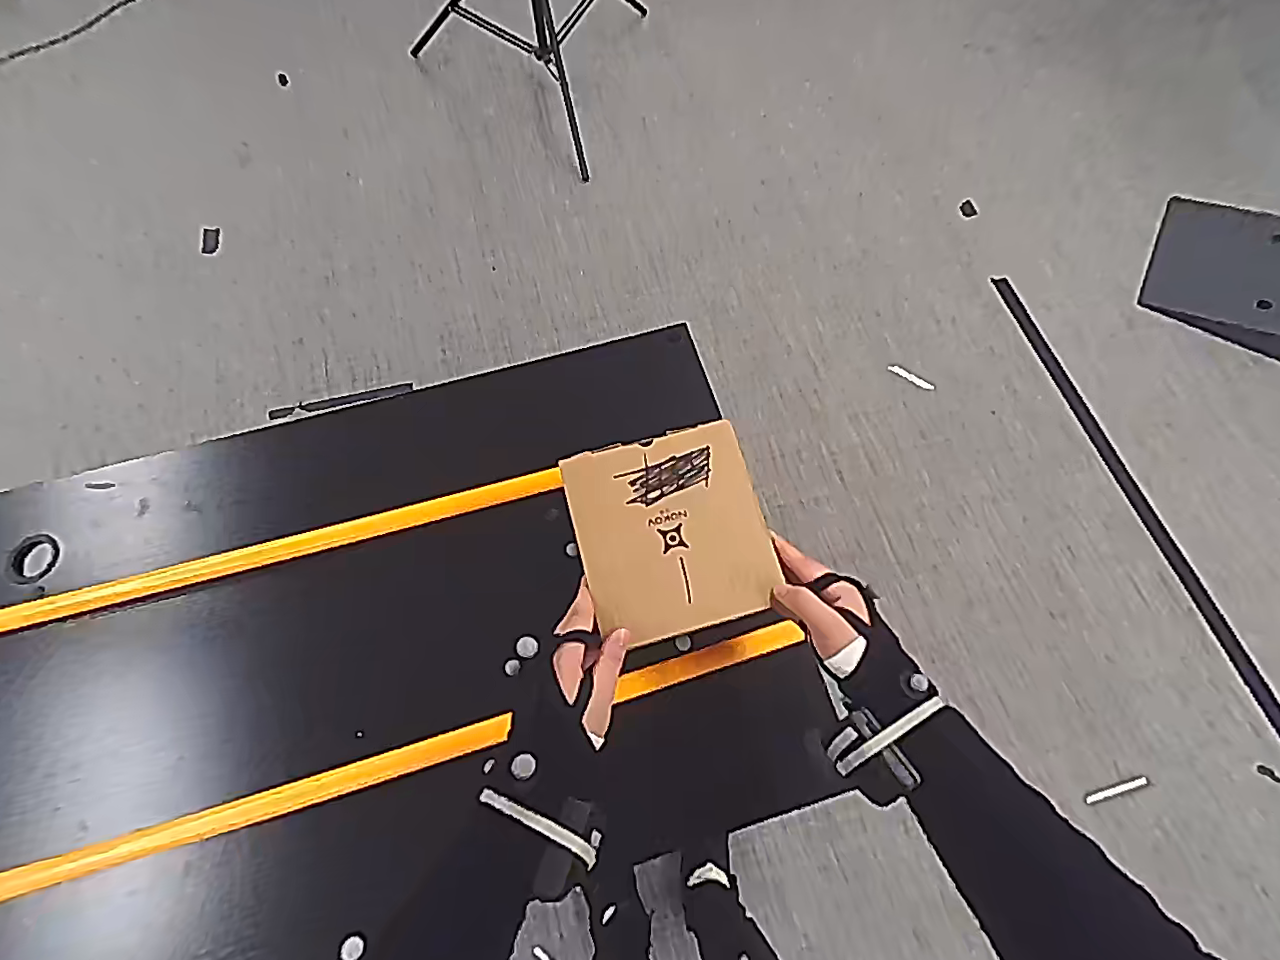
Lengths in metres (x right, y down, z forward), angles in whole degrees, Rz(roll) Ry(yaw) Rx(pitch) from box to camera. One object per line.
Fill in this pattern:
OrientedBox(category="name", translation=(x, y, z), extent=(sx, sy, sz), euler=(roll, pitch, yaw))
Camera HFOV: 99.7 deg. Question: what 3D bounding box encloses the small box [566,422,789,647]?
OrientedBox(category="small box", translation=(0.027, 0.066, 0.556), extent=(0.168, 0.176, 0.179), euler=(-14, 74, -5))
